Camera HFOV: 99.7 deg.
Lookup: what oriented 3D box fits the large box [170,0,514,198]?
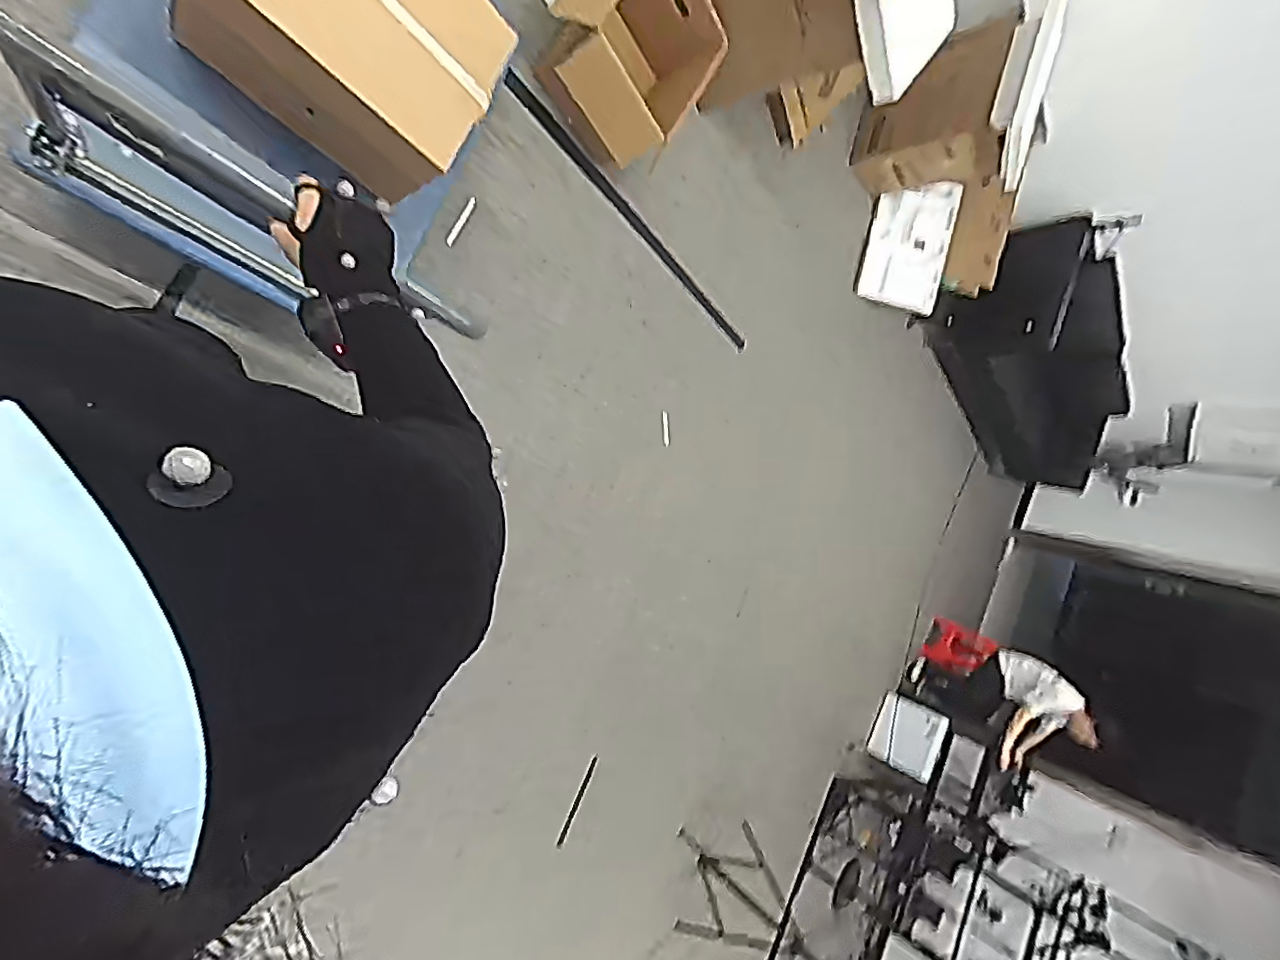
[{"bbox_3d":[-0.513,-0.792,0.956,0.408,0.320,0.320,31,78,-41],"label":"large box"}]
